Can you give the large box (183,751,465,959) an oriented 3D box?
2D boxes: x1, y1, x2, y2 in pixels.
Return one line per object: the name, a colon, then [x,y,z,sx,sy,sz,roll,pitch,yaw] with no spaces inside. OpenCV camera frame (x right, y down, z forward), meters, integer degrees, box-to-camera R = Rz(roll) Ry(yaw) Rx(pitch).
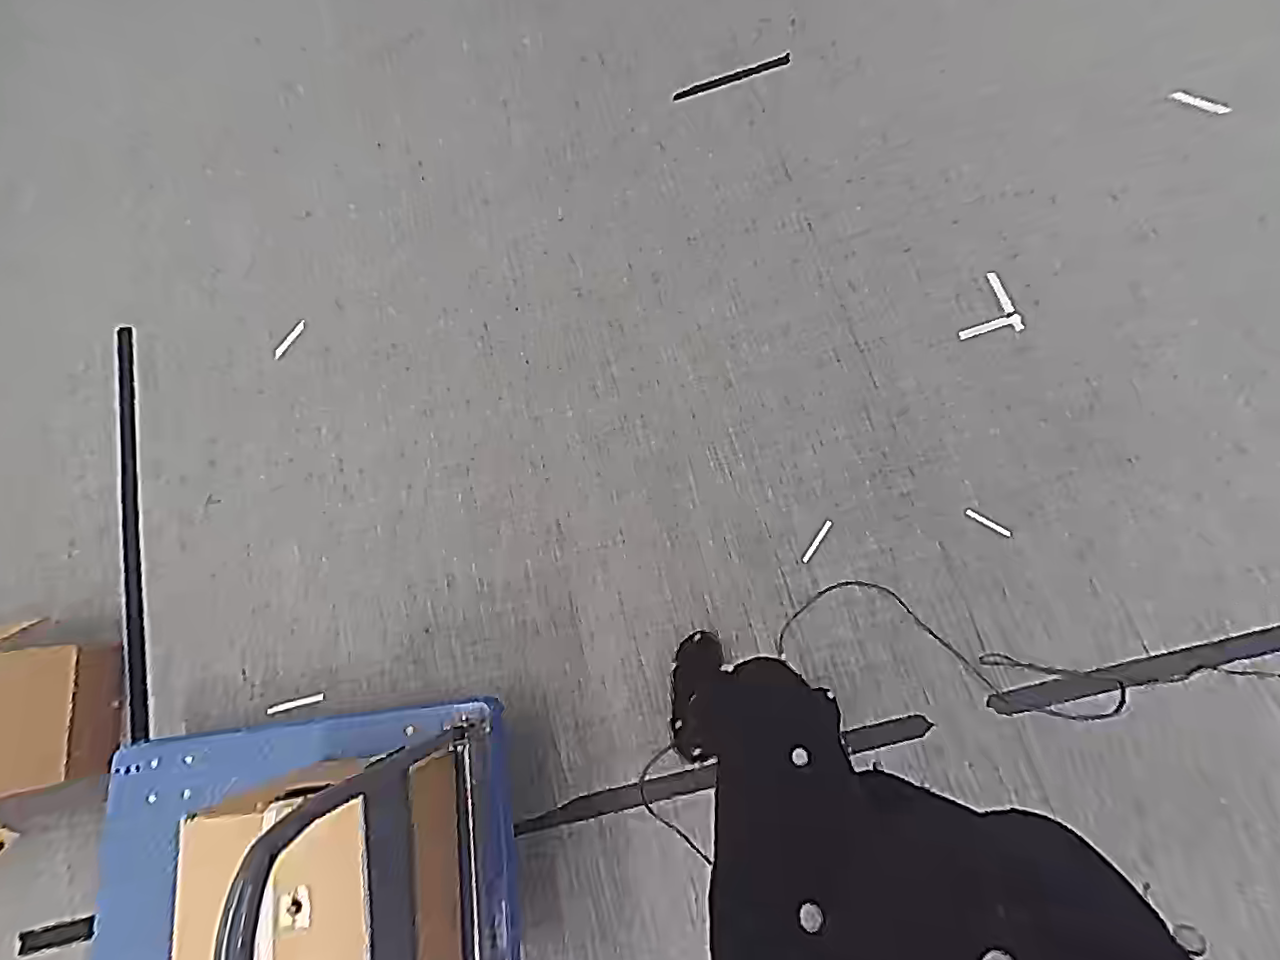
large box: [-0.523,0.740,0.946,0.320,0.320,0.408,-9,75,3]
